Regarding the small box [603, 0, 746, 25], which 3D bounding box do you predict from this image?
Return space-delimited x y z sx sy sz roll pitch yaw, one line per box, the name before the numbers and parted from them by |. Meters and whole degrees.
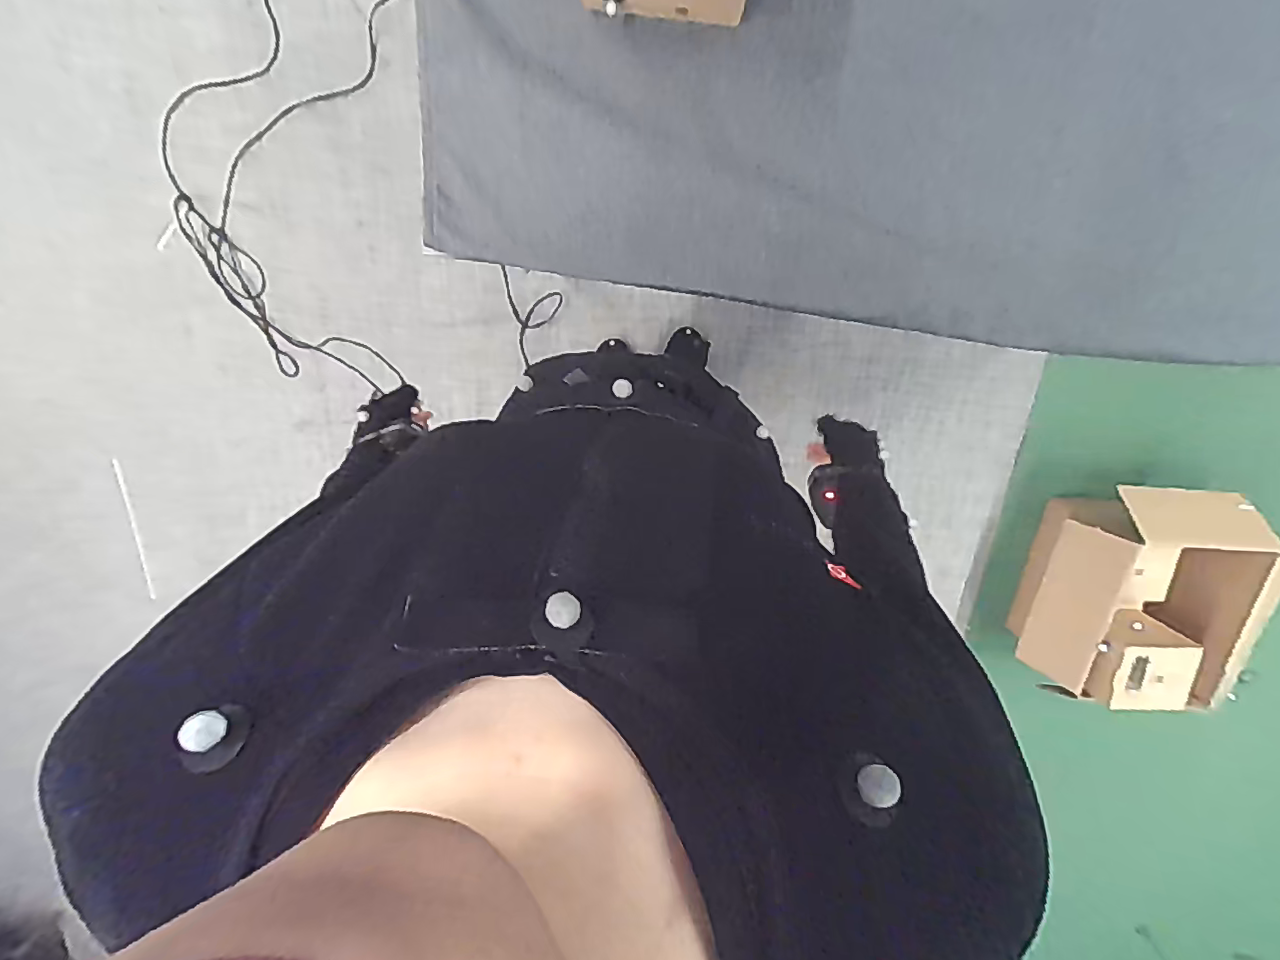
small box | 0.033 -0.548 0.477 0.168 0.176 0.179 7 107 1
